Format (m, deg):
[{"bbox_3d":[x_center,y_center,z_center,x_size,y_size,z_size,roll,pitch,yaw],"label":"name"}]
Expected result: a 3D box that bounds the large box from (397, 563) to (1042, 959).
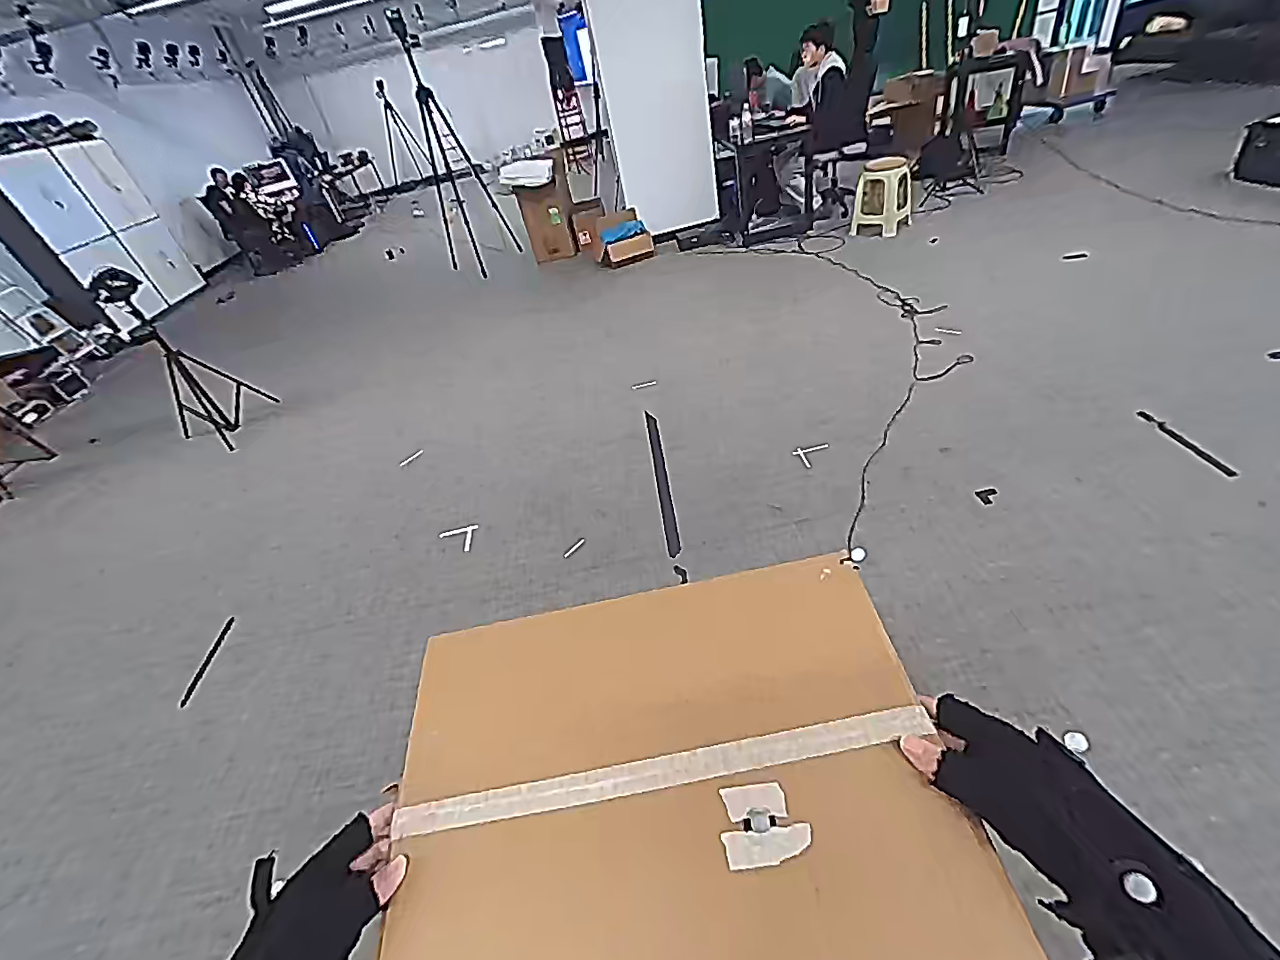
[{"bbox_3d":[0.045,0.329,0.516,0.408,0.320,0.320,-12,46,2],"label":"large box"}]
